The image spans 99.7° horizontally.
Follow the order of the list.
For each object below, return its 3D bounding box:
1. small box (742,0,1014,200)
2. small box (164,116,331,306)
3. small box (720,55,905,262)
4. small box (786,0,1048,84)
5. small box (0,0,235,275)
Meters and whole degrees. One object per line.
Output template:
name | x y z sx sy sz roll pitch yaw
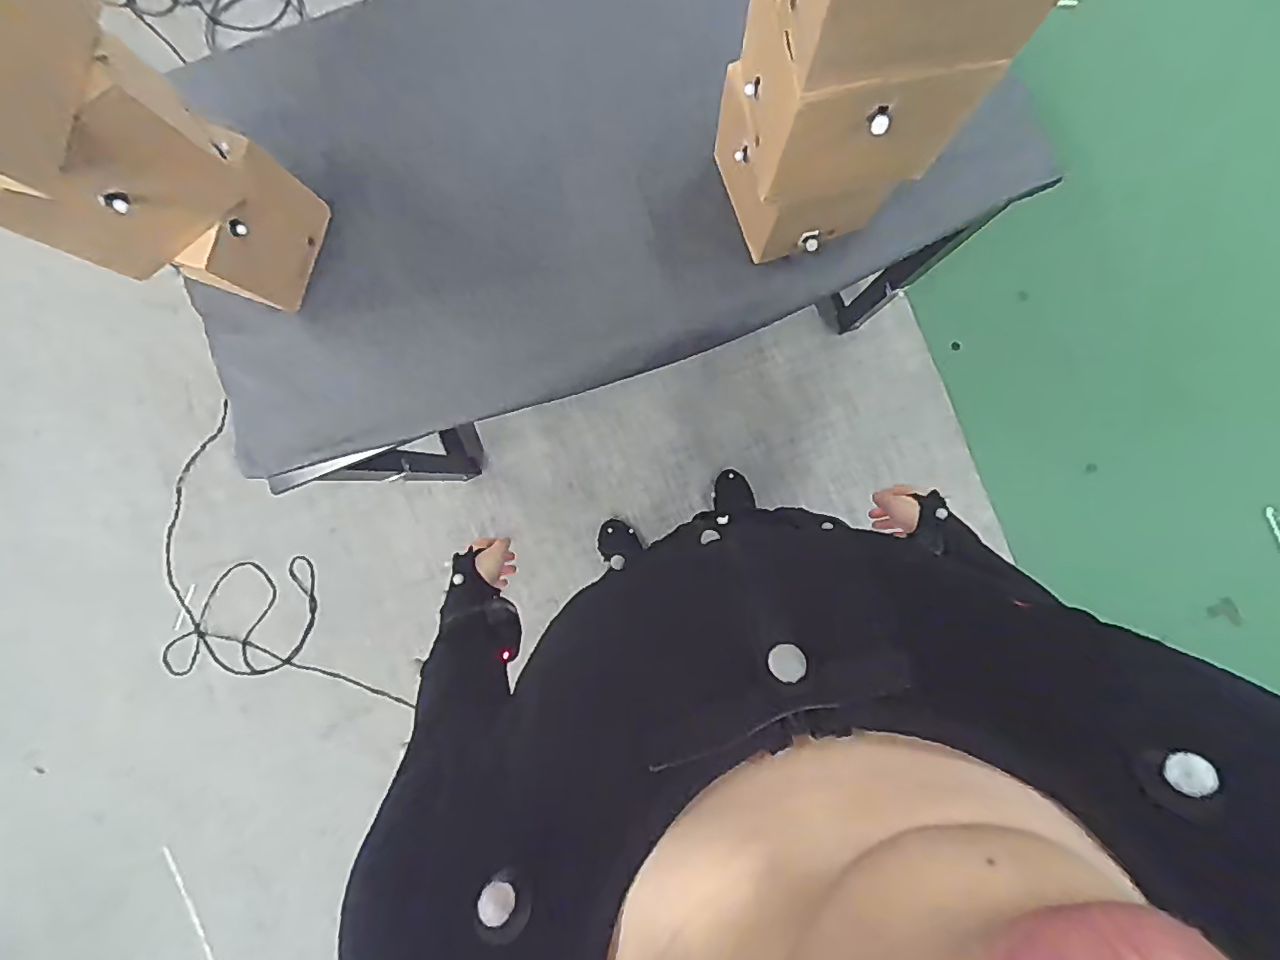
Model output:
small box | 0.204 -0.398 0.513 0.179 0.176 0.168 -9 88 4
small box | -0.556 -0.350 0.709 0.179 0.176 0.168 19 91 2
small box | 0.207 -0.409 0.675 0.168 0.176 0.179 -20 88 3
small box | 0.197 -0.404 0.348 0.179 0.176 0.168 -8 88 4
small box | -0.561 -0.346 0.545 0.179 0.176 0.168 -39 89 2
